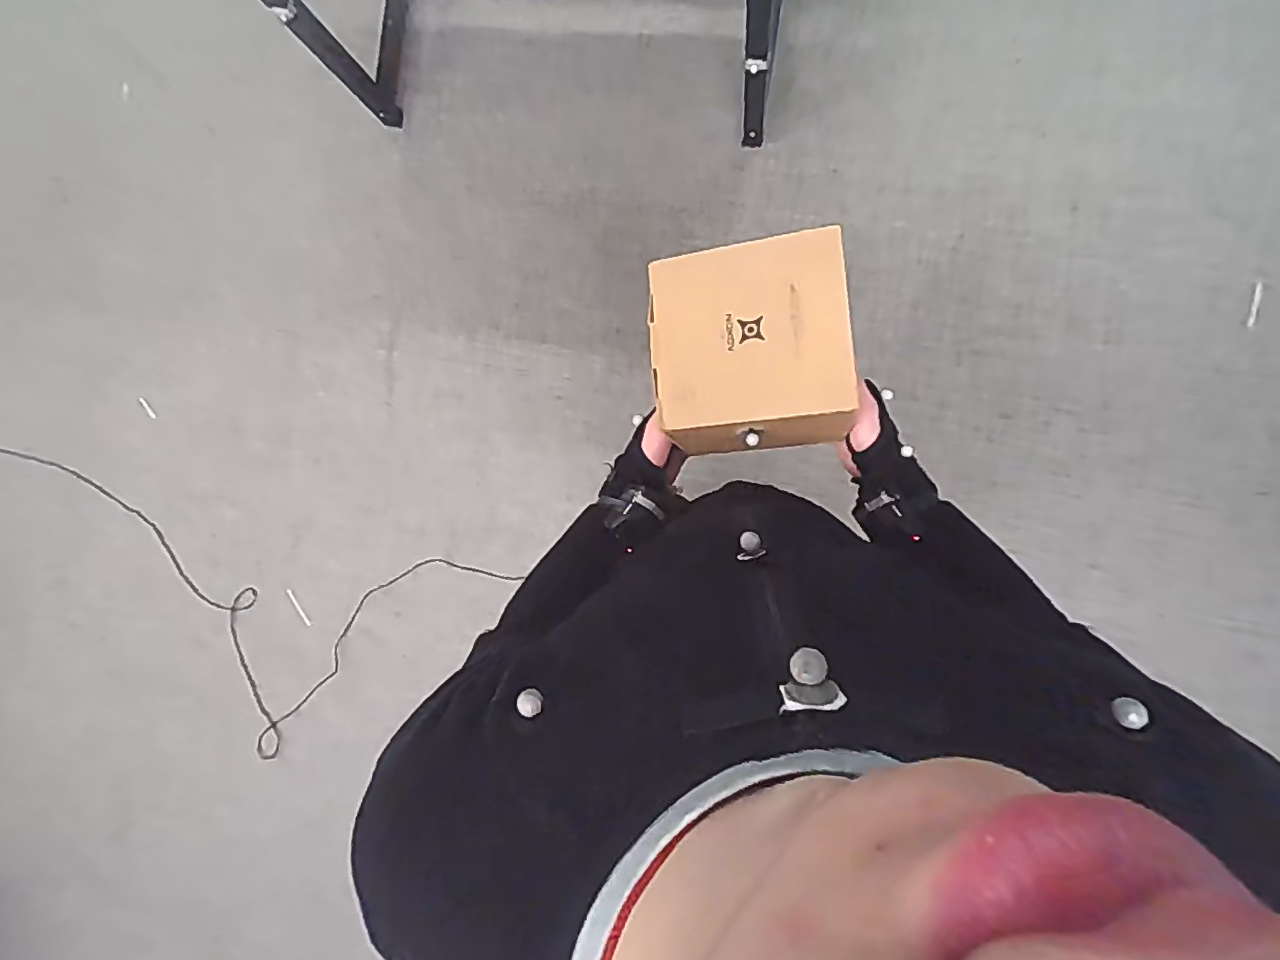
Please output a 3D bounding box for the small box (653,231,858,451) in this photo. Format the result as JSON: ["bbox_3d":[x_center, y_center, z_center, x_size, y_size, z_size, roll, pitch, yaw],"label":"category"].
[{"bbox_3d":[0.120,-0.128,0.571,0.179,0.176,0.168,-6,84,14],"label":"small box"}]
